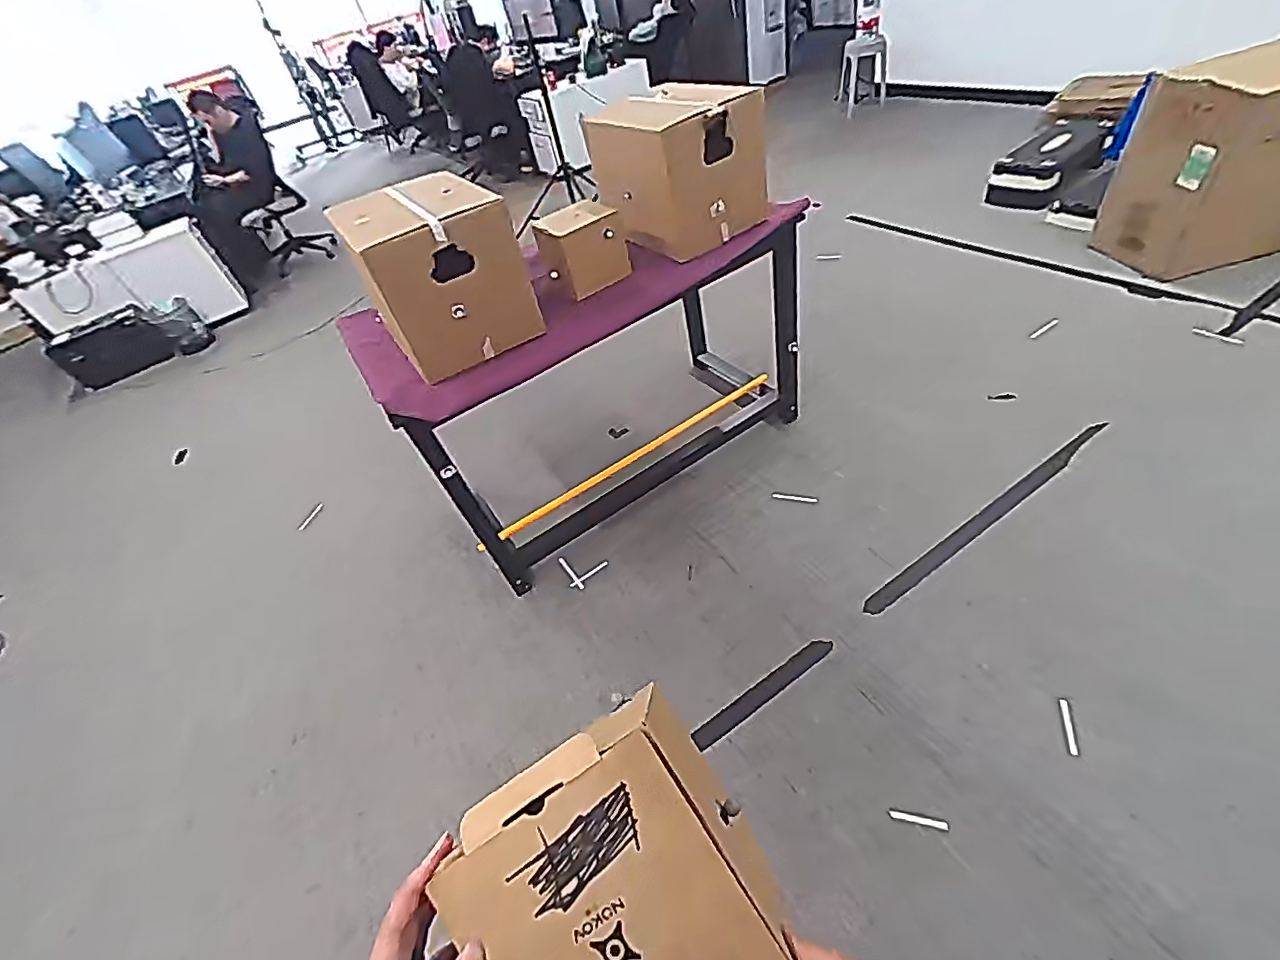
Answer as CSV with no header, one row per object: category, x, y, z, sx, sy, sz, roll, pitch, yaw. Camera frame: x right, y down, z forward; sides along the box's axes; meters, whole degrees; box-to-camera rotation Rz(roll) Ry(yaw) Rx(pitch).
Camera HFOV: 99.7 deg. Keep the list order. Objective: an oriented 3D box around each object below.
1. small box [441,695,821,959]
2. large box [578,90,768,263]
small box,-0.002,0.279,0.392,0.168,0.176,0.179,-36,78,-3
large box,0.095,-0.836,1.476,0.320,0.320,0.408,-32,45,-16
